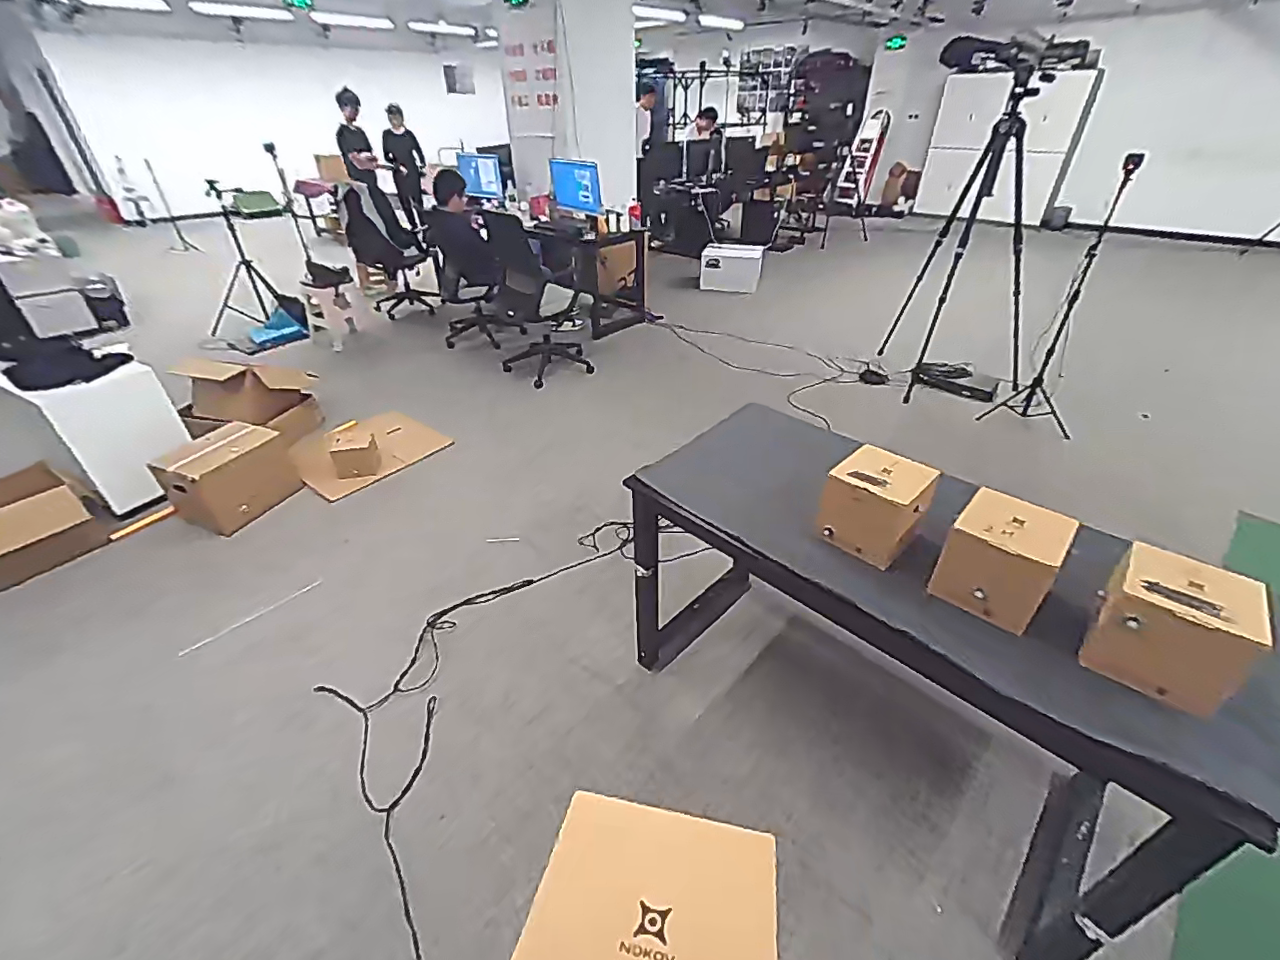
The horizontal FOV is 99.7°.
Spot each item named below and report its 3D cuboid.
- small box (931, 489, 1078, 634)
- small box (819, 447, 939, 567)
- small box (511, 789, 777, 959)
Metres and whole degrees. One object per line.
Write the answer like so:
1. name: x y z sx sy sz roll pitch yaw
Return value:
1. small box: 0.677 0.149 1.017 0.168 0.176 0.179 27 43 35
2. small box: 0.503 0.057 1.158 0.179 0.176 0.168 -28 43 -36
3. small box: 0.003 0.370 0.384 0.168 0.176 0.179 7 22 10
